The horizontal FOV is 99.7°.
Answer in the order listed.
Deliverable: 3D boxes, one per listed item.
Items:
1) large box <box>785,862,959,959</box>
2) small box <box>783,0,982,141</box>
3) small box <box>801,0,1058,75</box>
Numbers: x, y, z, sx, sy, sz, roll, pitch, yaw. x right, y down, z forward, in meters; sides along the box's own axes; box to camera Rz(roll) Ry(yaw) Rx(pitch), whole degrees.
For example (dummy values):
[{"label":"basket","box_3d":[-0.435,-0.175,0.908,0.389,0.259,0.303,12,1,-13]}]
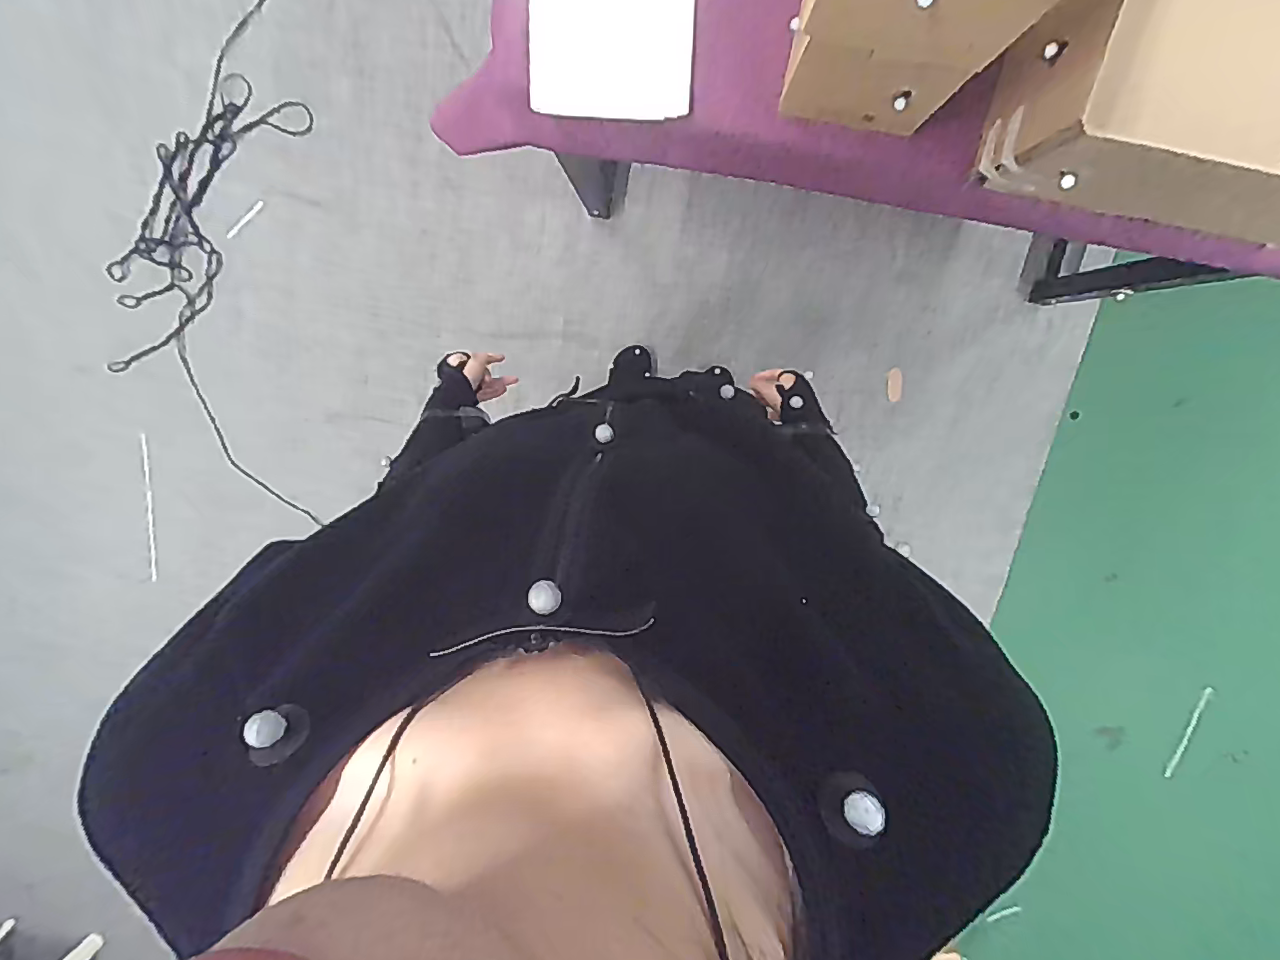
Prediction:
[{"label":"large box","box_3d":[0.676,1.420,1.628,0.408,0.320,0.320,-4,102,3]},{"label":"small box","box_3d":[0.262,-0.494,0.572,0.168,0.176,0.179,12,101,0]},{"label":"small box","box_3d":[0.246,-0.453,0.414,0.179,0.176,0.168,12,101,0]}]
